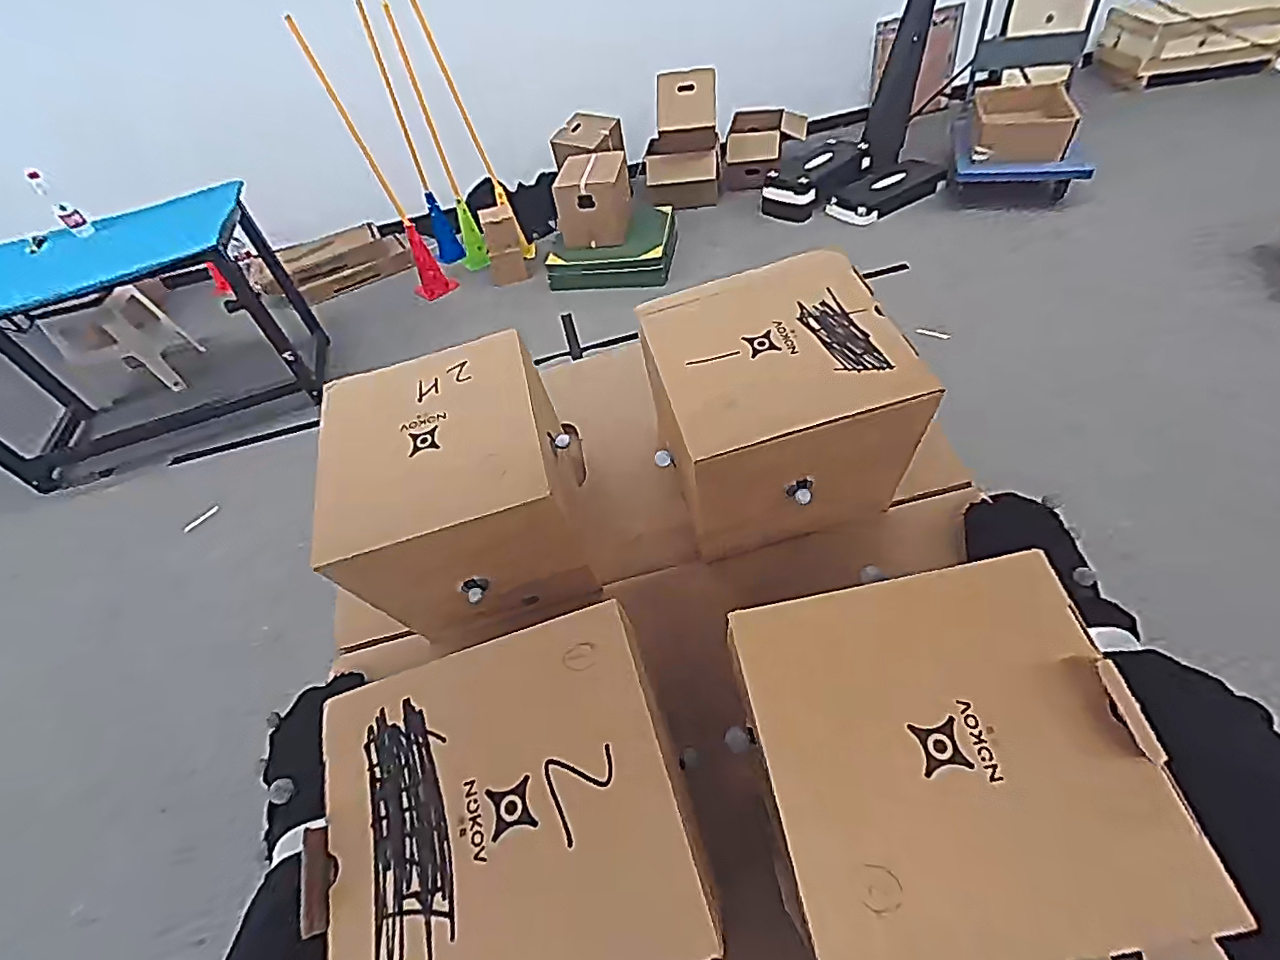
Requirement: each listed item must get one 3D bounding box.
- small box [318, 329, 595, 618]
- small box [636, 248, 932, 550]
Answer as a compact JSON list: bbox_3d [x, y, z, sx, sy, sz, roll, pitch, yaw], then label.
[{"bbox_3d":[-0.146,0.007,0.474,0.168,0.176,0.179,-16,57,-1],"label":"small box"},{"bbox_3d":[0.107,-0.061,0.469,0.179,0.176,0.168,-16,58,1],"label":"small box"}]
